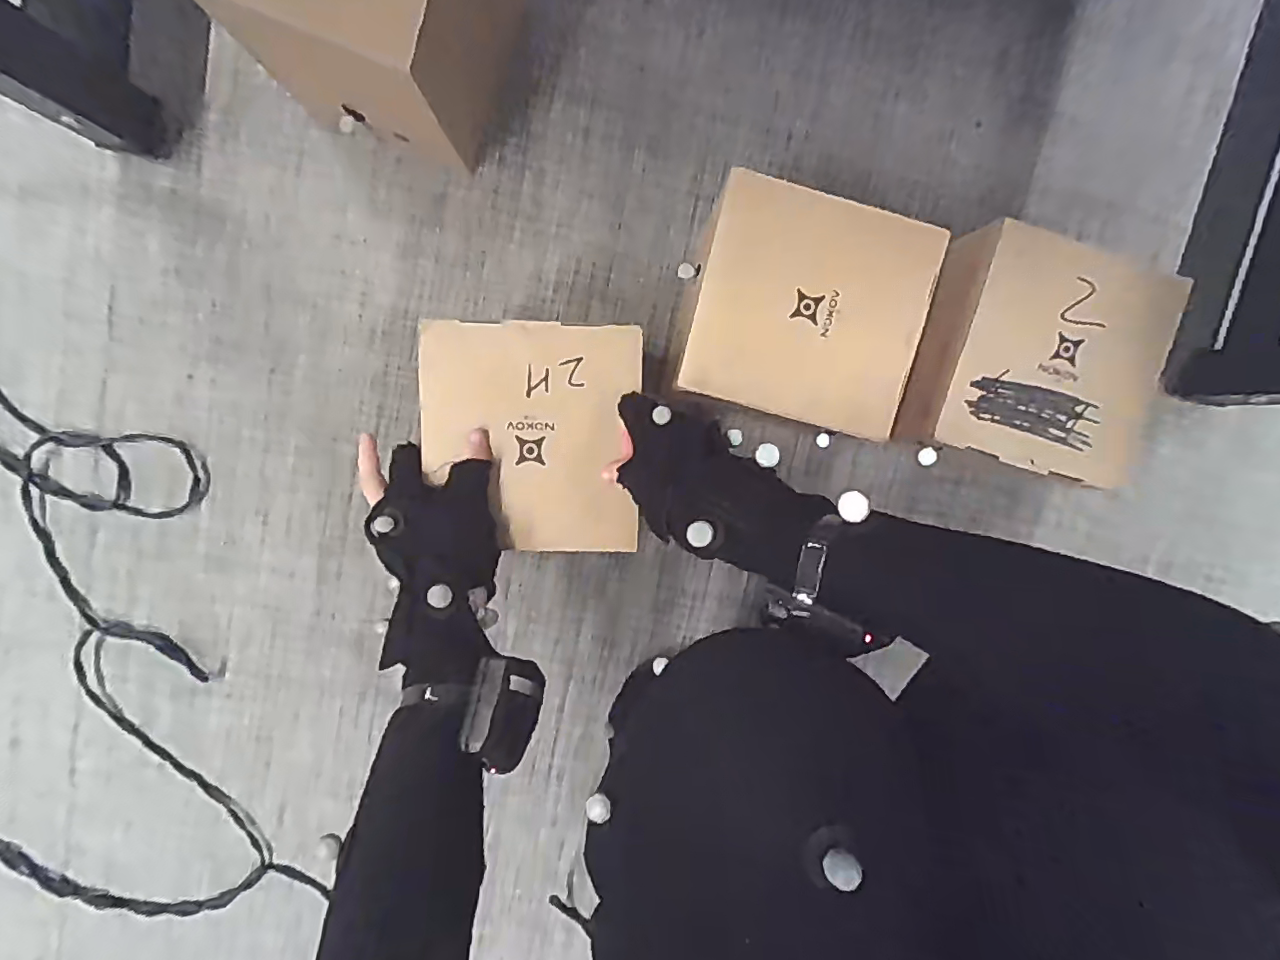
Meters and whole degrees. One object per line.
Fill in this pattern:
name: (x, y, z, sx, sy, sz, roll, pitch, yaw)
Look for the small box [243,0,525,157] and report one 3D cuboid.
small box: (-0.199, -0.407, 0.430, 0.168, 0.176, 0.179, 20, 95, -5)
